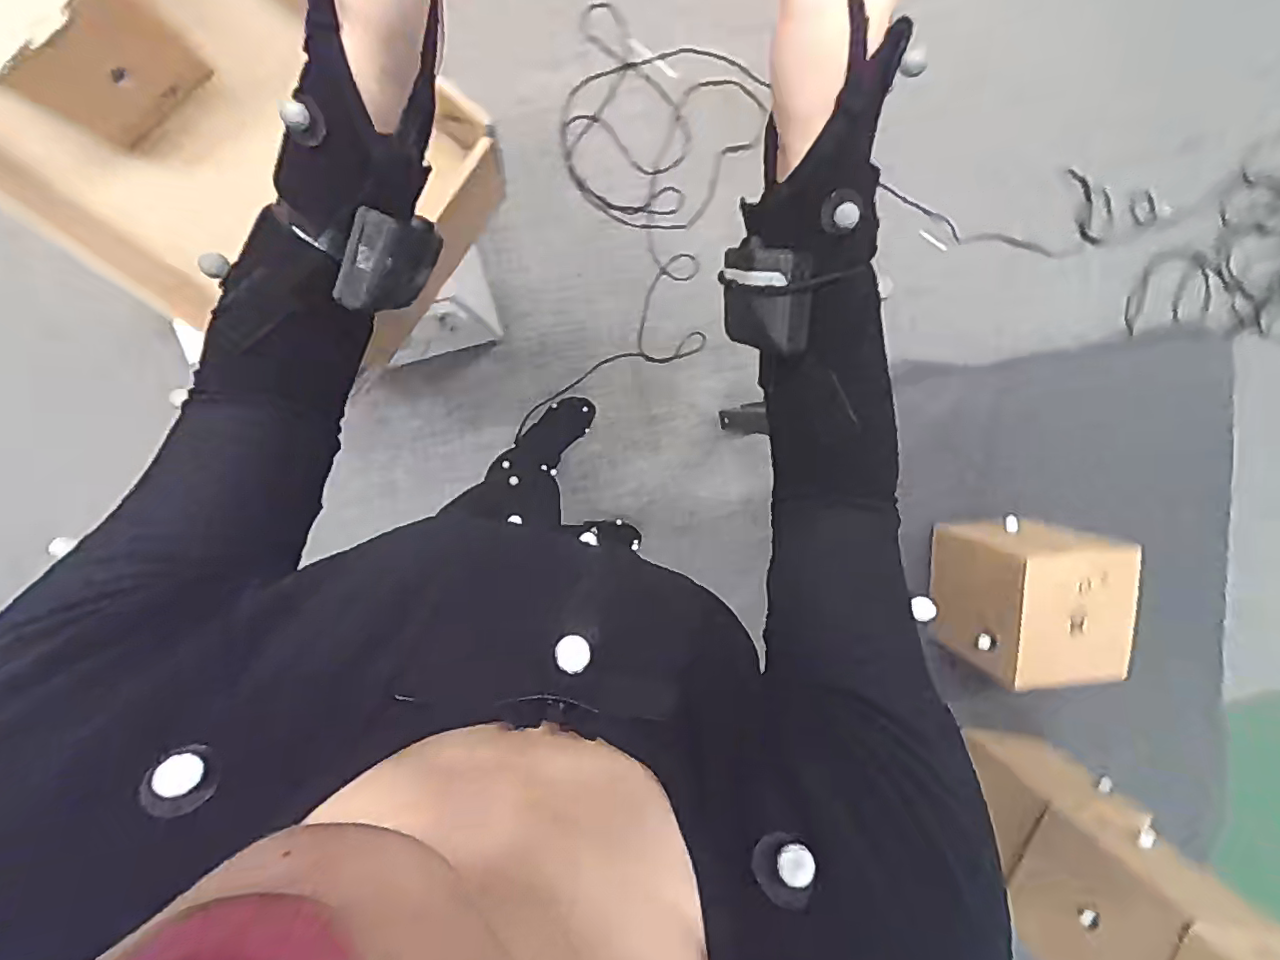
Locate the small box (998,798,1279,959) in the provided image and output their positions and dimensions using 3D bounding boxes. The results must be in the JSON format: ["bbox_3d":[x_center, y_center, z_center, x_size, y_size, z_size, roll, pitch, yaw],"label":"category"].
[{"bbox_3d":[0.580,0.532,0.649,0.168,0.176,0.179,21,95,-11],"label":"small box"}]

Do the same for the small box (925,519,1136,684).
[{"bbox_3d":[0.528,0.159,0.756,0.168,0.176,0.179,-2,98,-8],"label":"small box"}]
